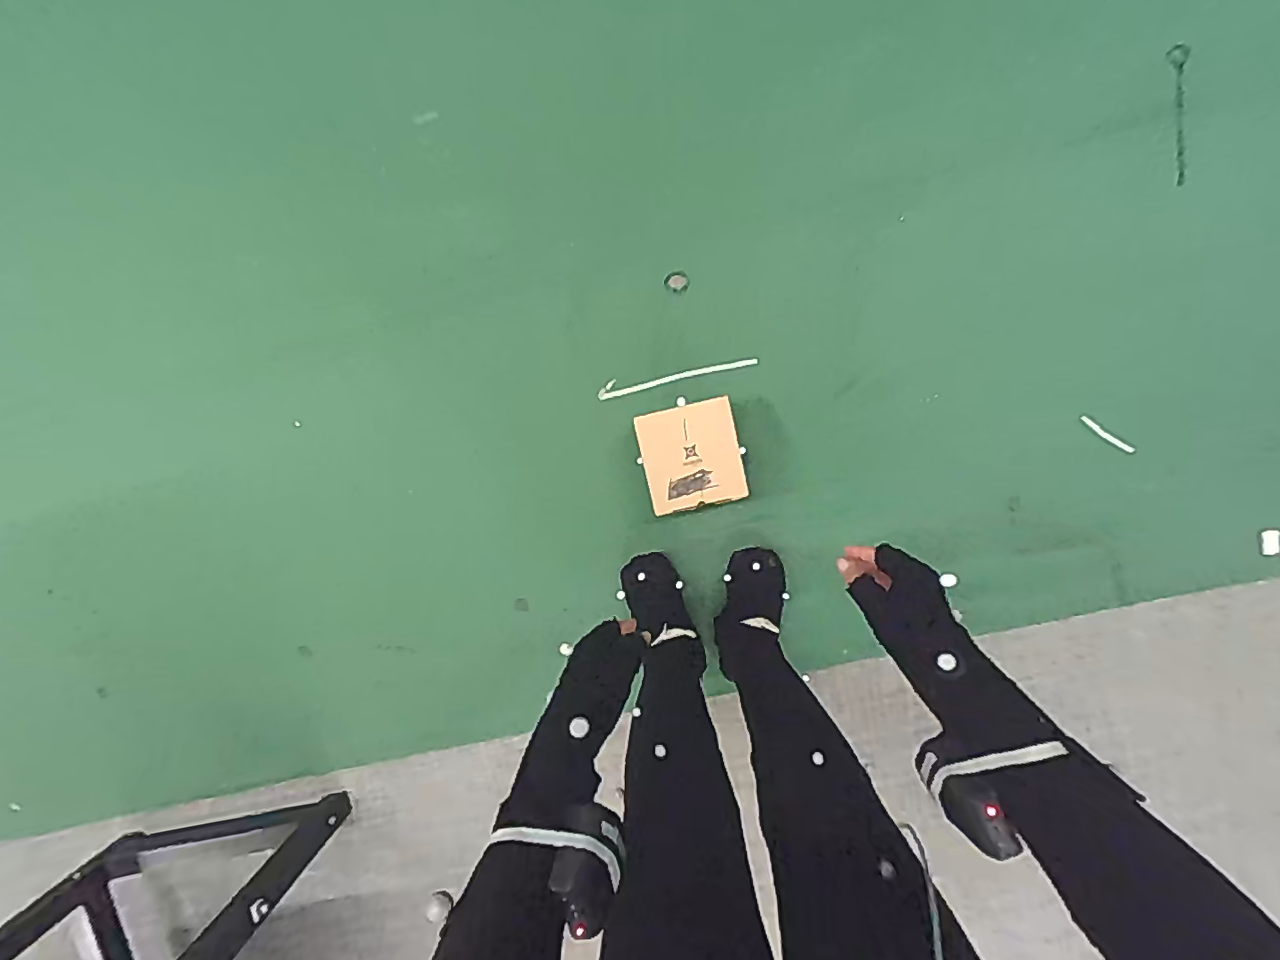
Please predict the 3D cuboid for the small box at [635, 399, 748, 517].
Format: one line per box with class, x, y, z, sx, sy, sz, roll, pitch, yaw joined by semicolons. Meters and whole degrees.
small box;0.095;-0.045;0.997;0.168;0.176;0.179;-13;95;5
